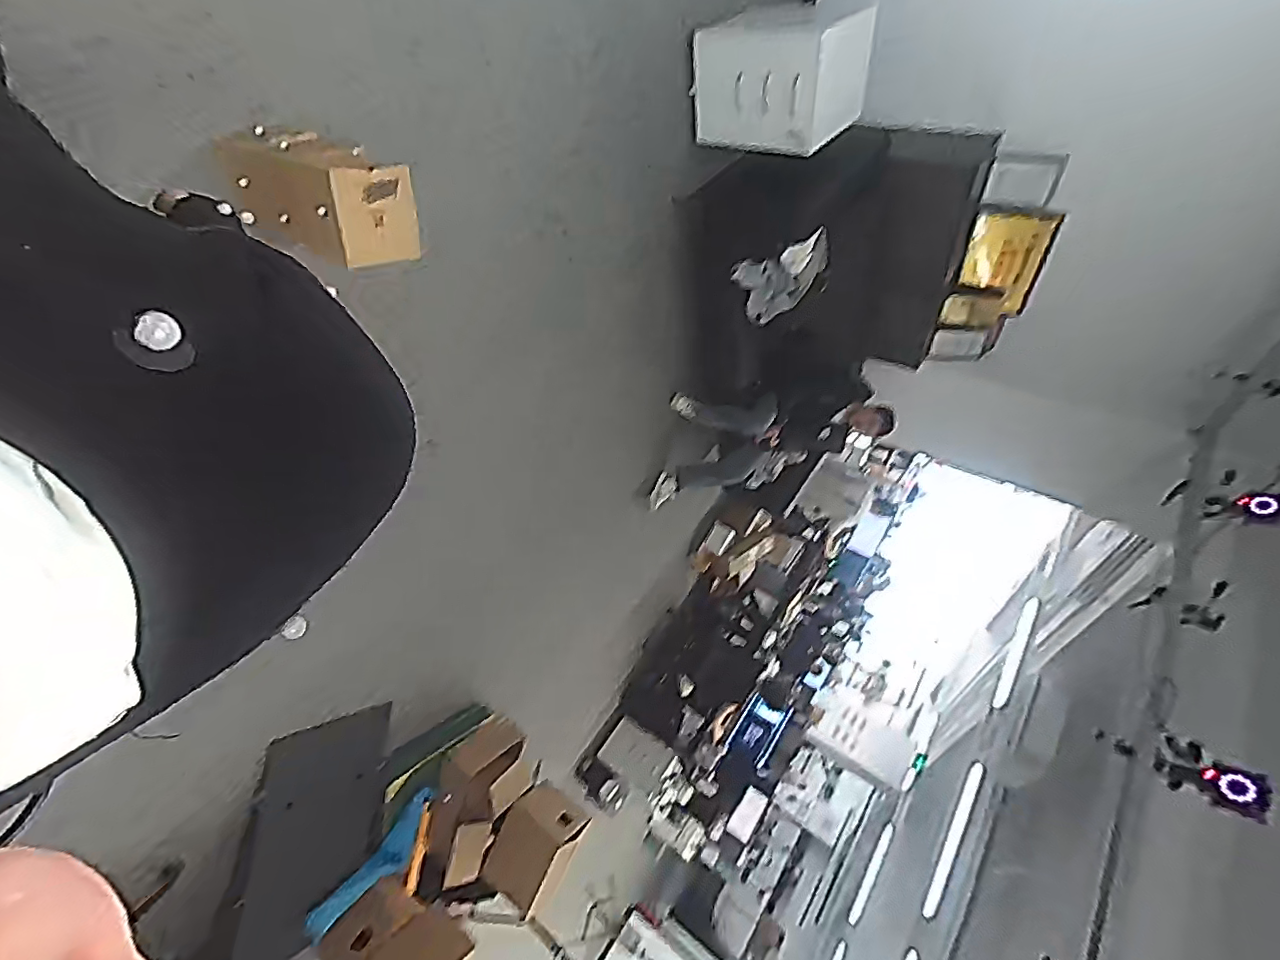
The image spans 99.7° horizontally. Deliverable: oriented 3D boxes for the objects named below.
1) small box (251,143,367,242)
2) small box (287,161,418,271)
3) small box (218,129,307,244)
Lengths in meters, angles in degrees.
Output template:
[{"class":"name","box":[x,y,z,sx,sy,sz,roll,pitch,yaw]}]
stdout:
[{"class":"small box","box":[-0.701,-0.621,1.176,0.179,0.176,0.168,-42,146,-38]},{"class":"small box","box":[-0.580,-0.538,1.096,0.168,0.176,0.179,-30,138,-44]},{"class":"small box","box":[-0.823,-0.678,1.255,0.179,0.176,0.168,-62,154,-8]}]
